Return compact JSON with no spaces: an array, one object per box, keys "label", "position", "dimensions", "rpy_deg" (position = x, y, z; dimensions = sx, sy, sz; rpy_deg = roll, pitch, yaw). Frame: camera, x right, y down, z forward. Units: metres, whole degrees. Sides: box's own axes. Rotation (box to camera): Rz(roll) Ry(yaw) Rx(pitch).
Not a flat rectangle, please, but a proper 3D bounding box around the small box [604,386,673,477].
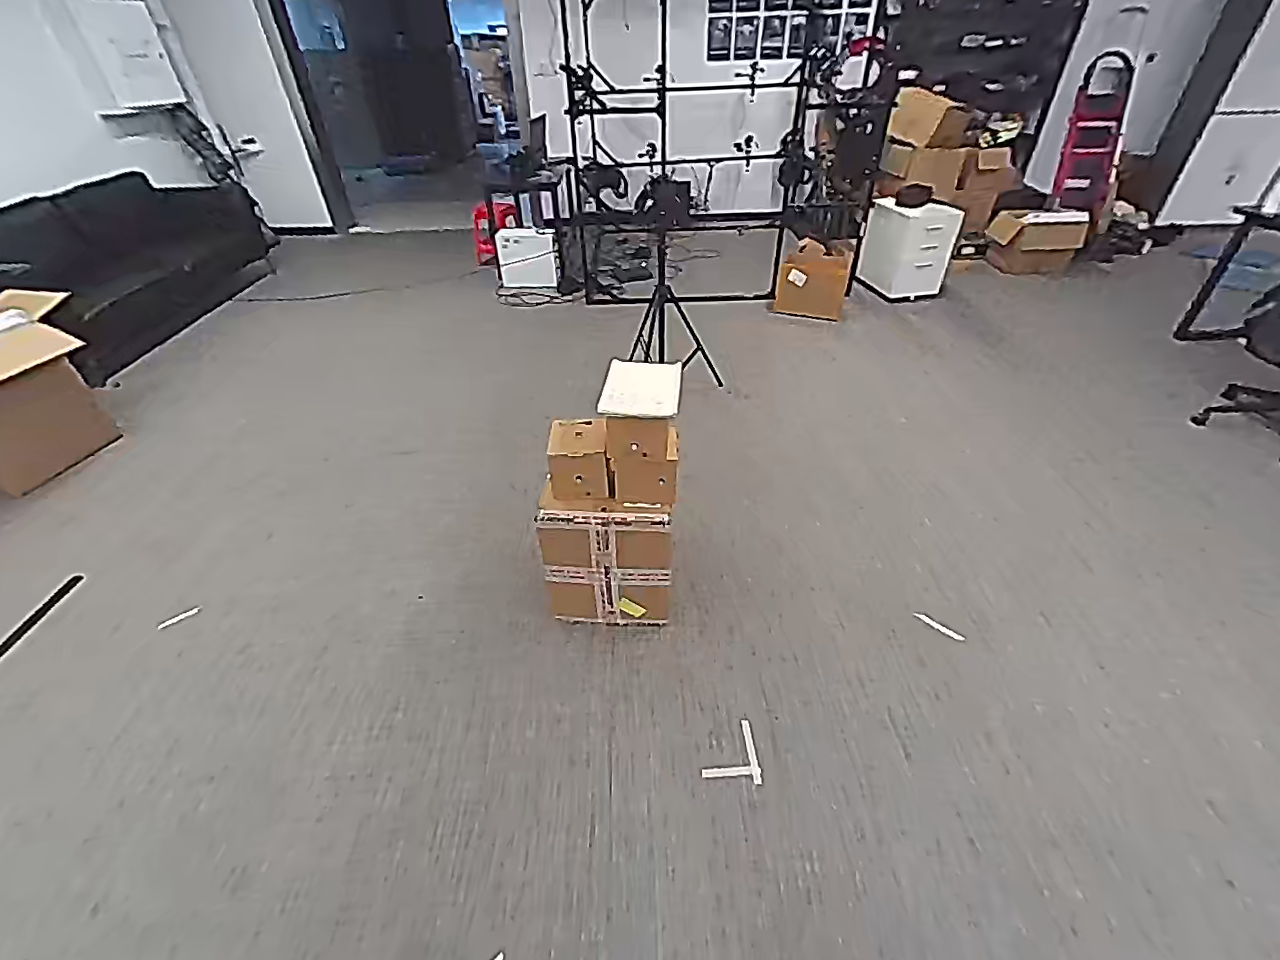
[{"label":"small box","position":[-0.004,-0.132,1.463],"dimensions":[0.168,0.176,0.179],"rpy_deg":[5,40,4]}]
